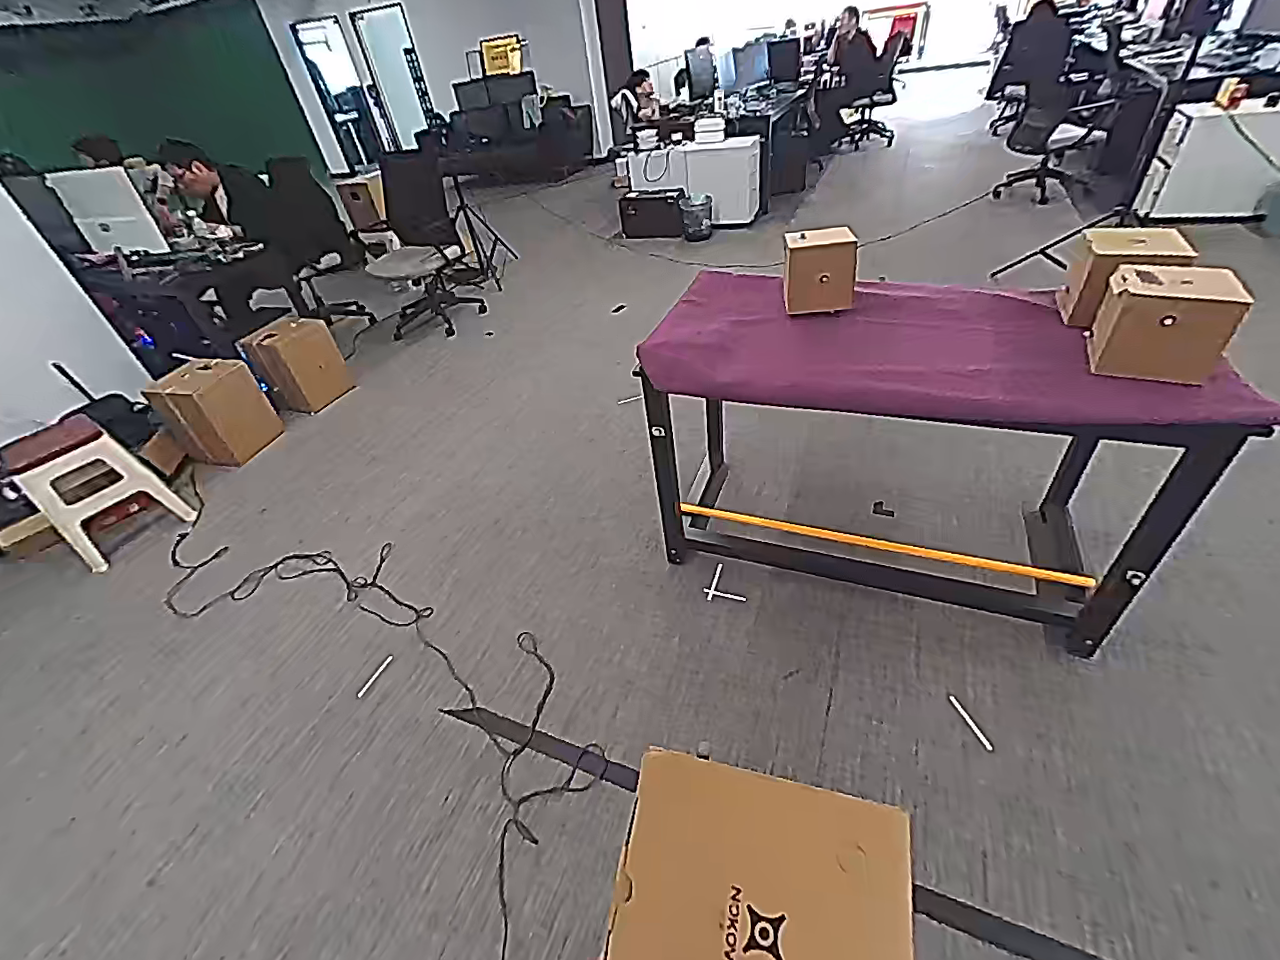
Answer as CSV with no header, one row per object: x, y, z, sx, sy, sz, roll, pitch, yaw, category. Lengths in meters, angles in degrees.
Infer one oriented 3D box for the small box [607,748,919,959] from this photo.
0.082,0.307,0.385,0.179,0.176,0.168,6,58,14,small box

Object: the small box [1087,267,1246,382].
1.025,-0.310,1.076,0.179,0.176,0.168,14,43,25,small box

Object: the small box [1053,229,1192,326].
1.094,-0.461,1.244,0.179,0.176,0.168,9,44,21,small box
